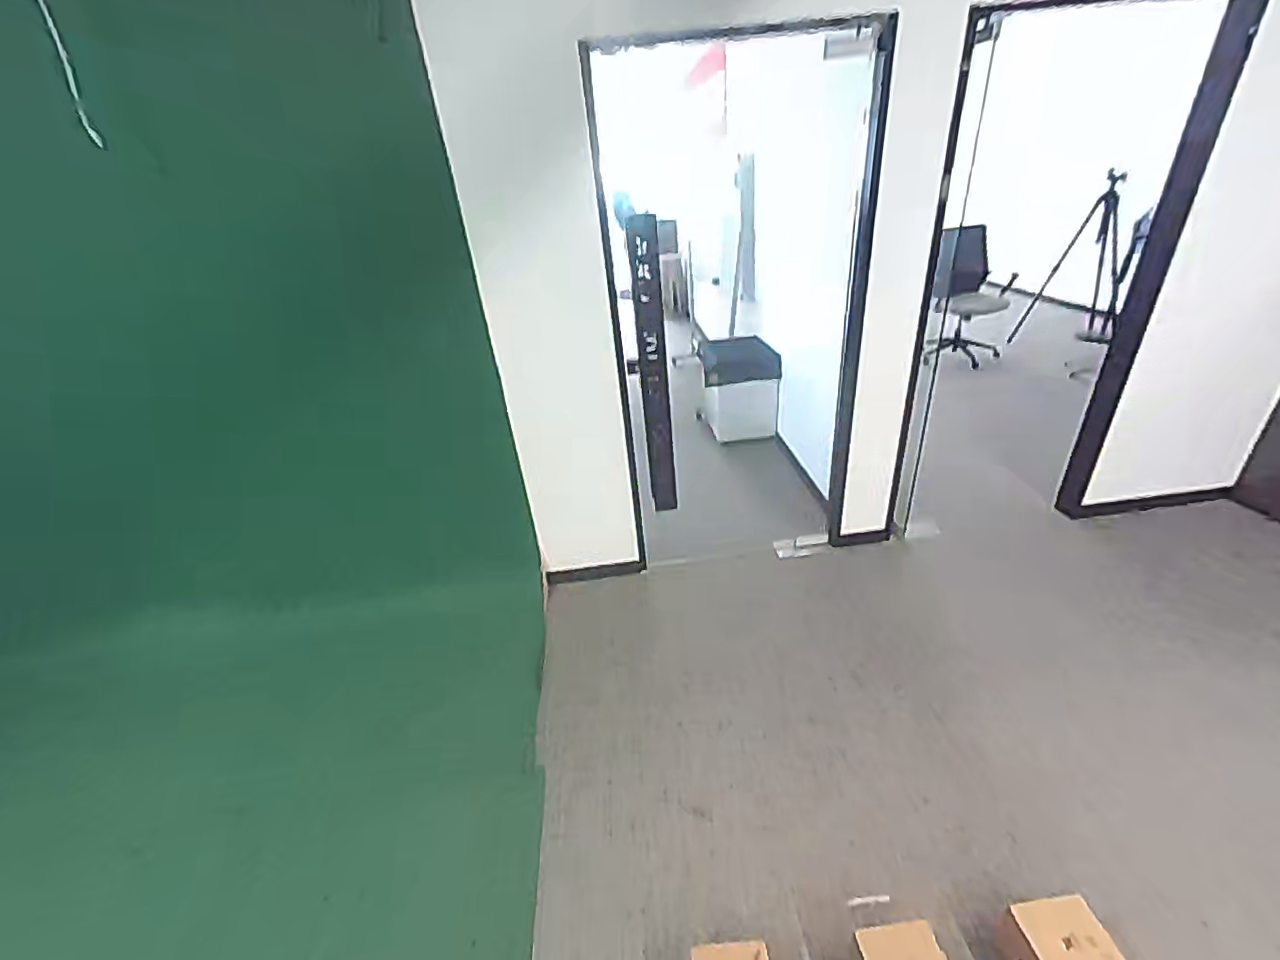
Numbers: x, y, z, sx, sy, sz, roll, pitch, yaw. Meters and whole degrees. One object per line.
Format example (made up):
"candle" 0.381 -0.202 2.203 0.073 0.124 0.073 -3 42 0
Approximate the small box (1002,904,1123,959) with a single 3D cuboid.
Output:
"small box" 0.937 1.080 1.191 0.179 0.176 0.168 -6 30 -2

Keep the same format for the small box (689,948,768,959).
"small box" 0.206 1.163 1.178 0.179 0.176 0.168 -5 29 2

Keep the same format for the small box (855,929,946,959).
"small box" 0.582 1.124 1.180 0.179 0.176 0.168 -7 28 -1
